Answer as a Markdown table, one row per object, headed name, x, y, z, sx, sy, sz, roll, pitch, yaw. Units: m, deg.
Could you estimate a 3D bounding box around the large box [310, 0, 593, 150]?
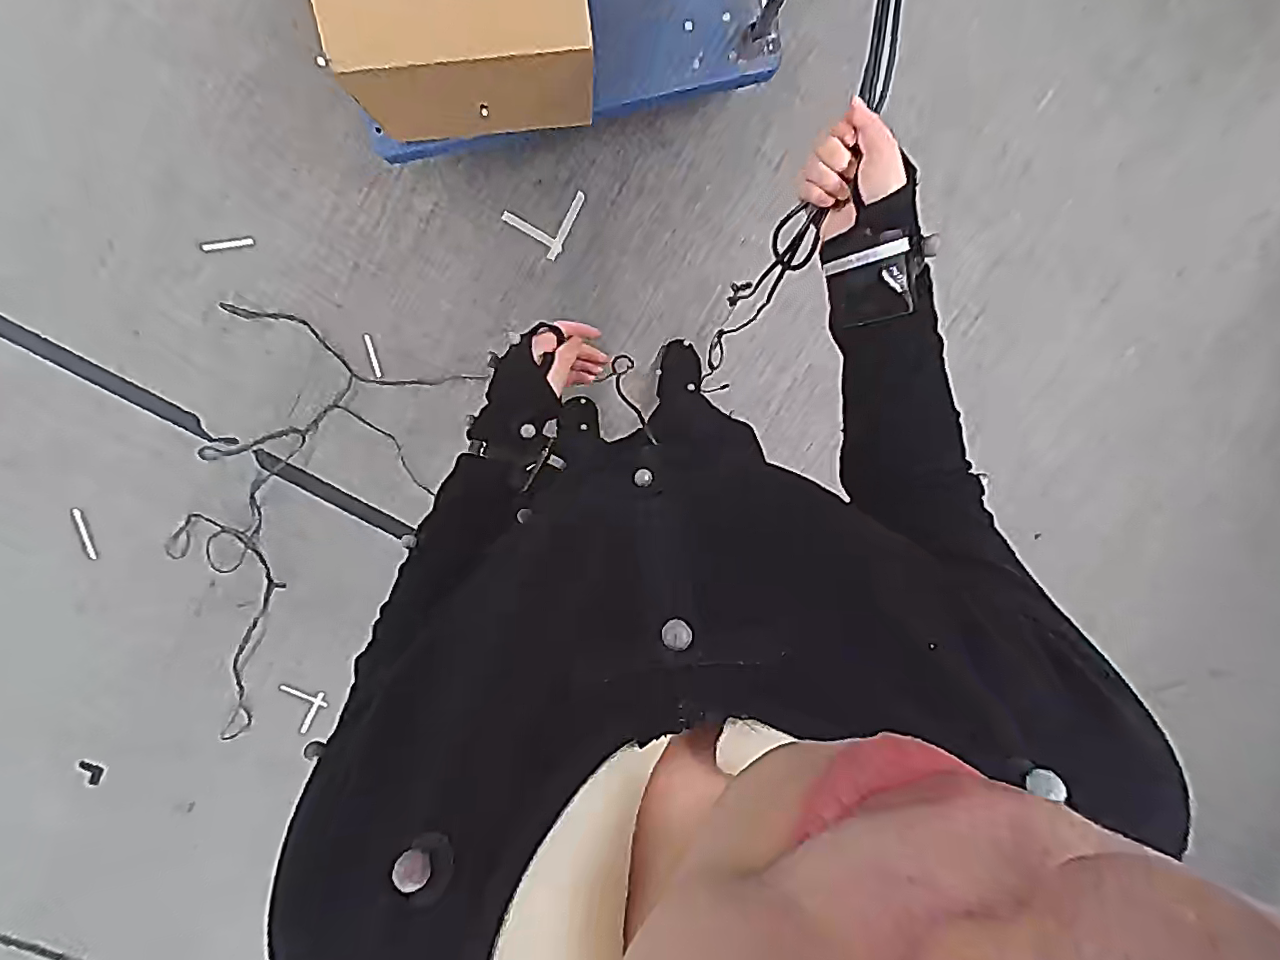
| name | x | y | z | sx | sy | sz | roll | pitch | yaw |
| --- | --- | --- | --- | --- | --- | --- | --- | --- | --- |
| large box | -0.304 | -0.808 | 0.932 | 0.408 | 0.320 | 0.320 | -9 | 104 | -3 |
